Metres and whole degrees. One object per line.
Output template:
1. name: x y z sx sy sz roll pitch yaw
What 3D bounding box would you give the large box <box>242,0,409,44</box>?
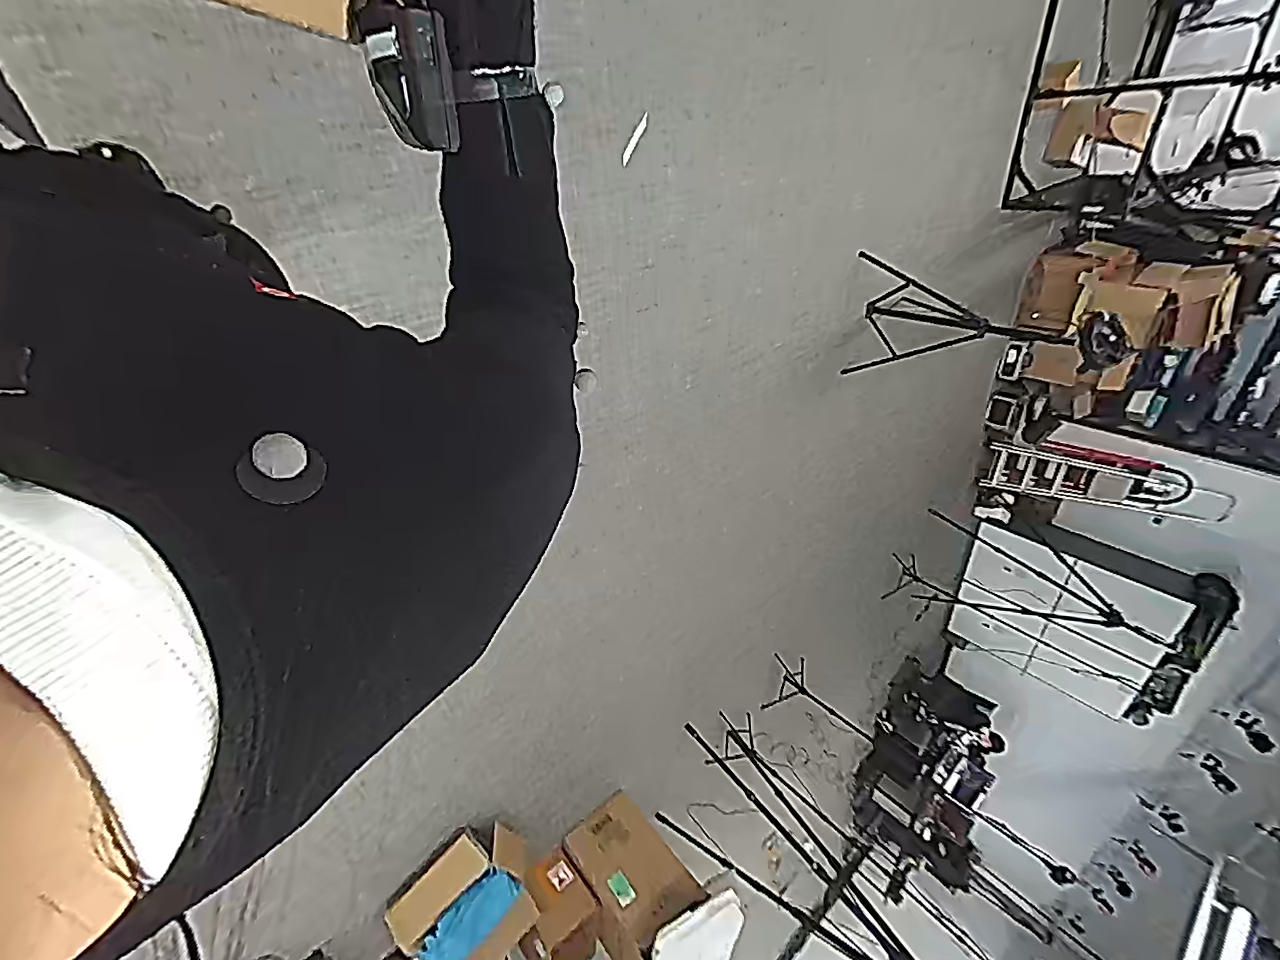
1. large box: -0.328 -0.457 0.245 0.408 0.320 0.320 5 125 -21
